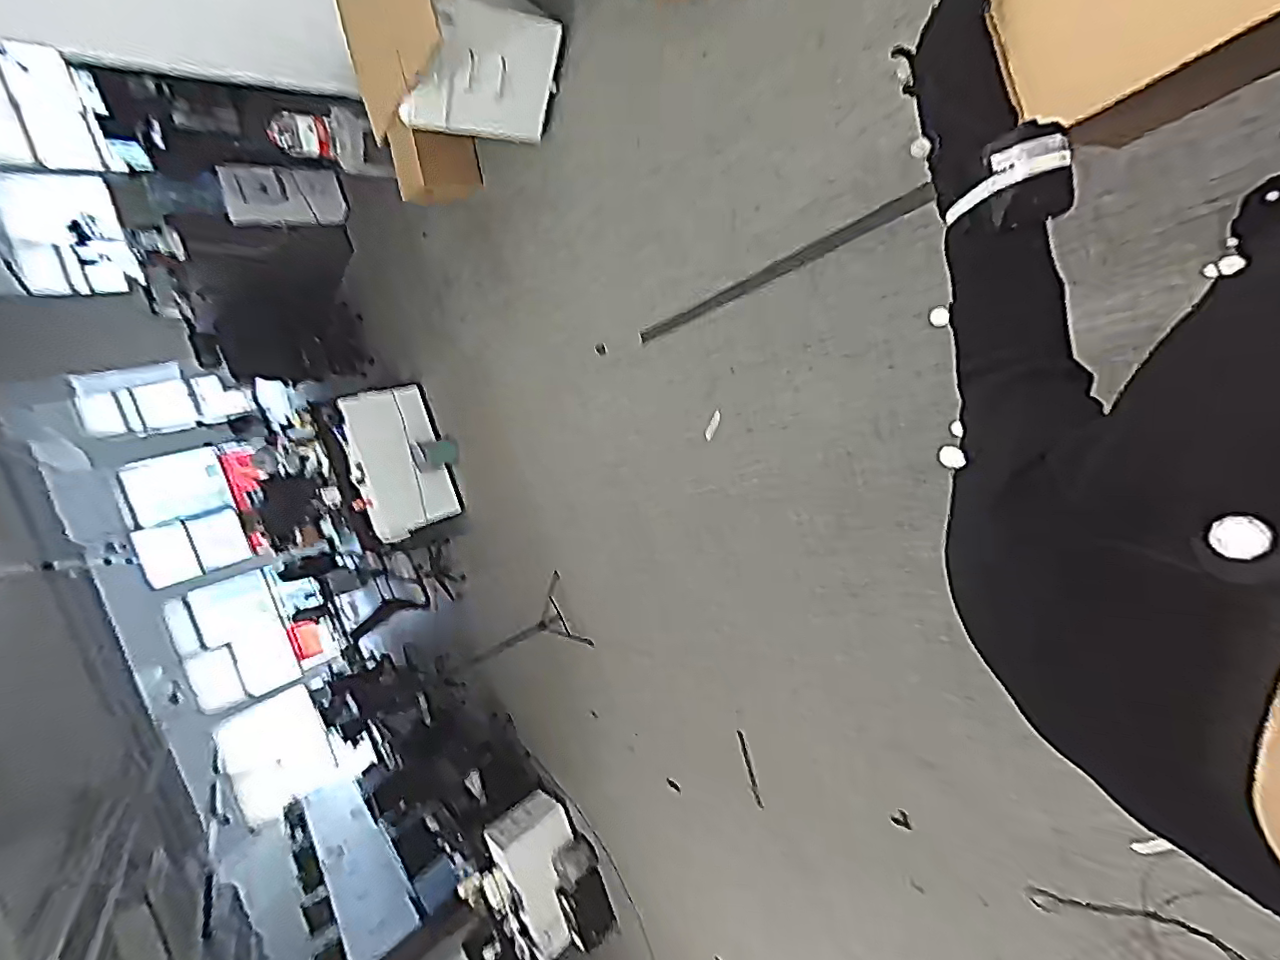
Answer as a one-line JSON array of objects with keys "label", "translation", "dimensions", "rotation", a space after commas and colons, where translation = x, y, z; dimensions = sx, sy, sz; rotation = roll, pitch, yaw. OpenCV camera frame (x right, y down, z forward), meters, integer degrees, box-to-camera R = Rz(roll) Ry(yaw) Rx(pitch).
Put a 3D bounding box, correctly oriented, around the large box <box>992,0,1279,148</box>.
[{"label": "large box", "translation": [0.474, -0.485, 0.339], "dimensions": [0.408, 0.320, 0.320], "rotation": [-14, 99, 53]}]
